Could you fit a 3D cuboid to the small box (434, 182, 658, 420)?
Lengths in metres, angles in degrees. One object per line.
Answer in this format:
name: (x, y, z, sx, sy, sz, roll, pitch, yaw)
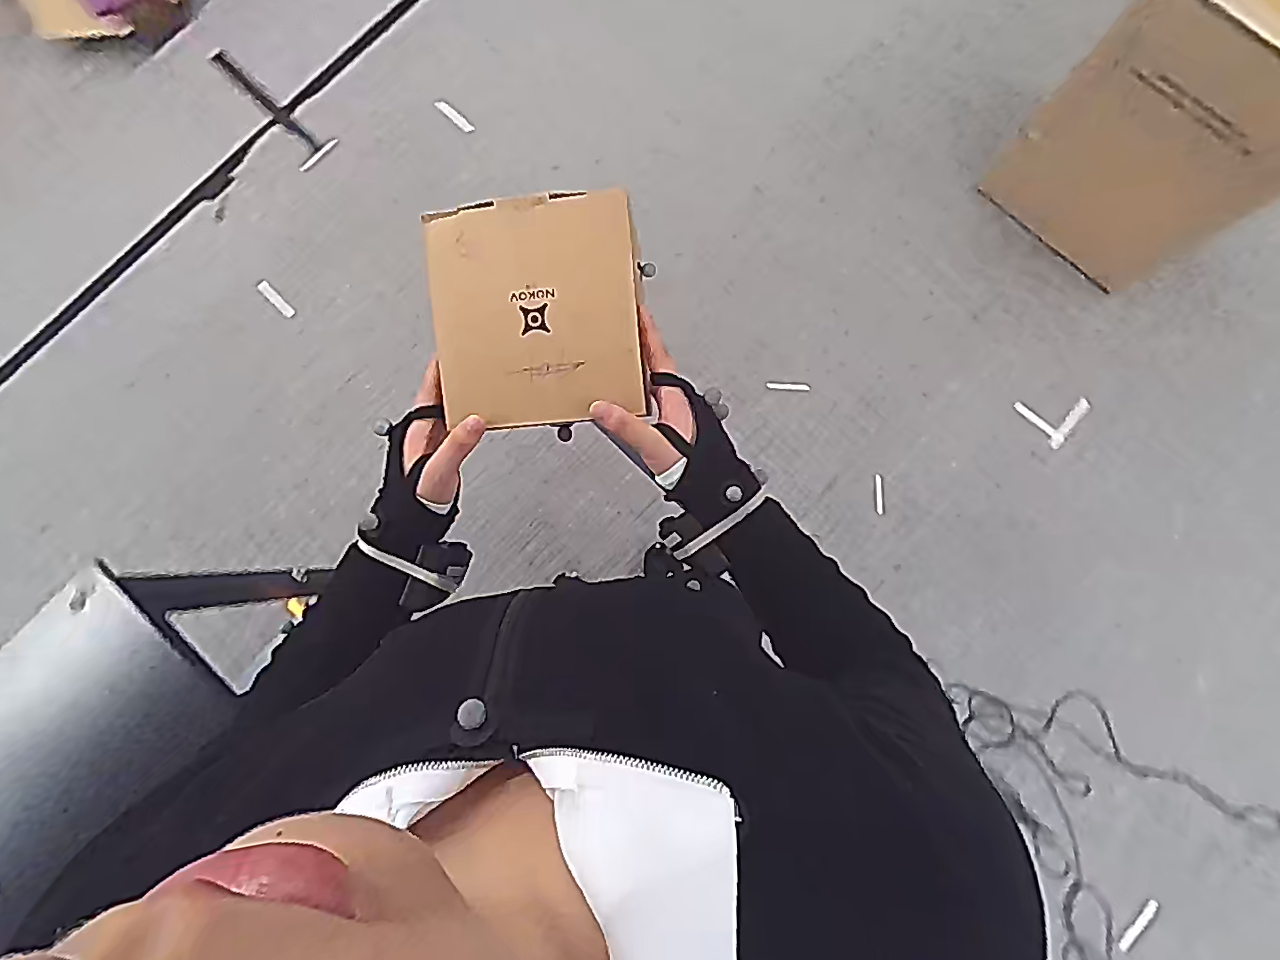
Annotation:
small box: (-0.071, -0.148, 0.507, 0.168, 0.176, 0.179, -3, 97, 5)
